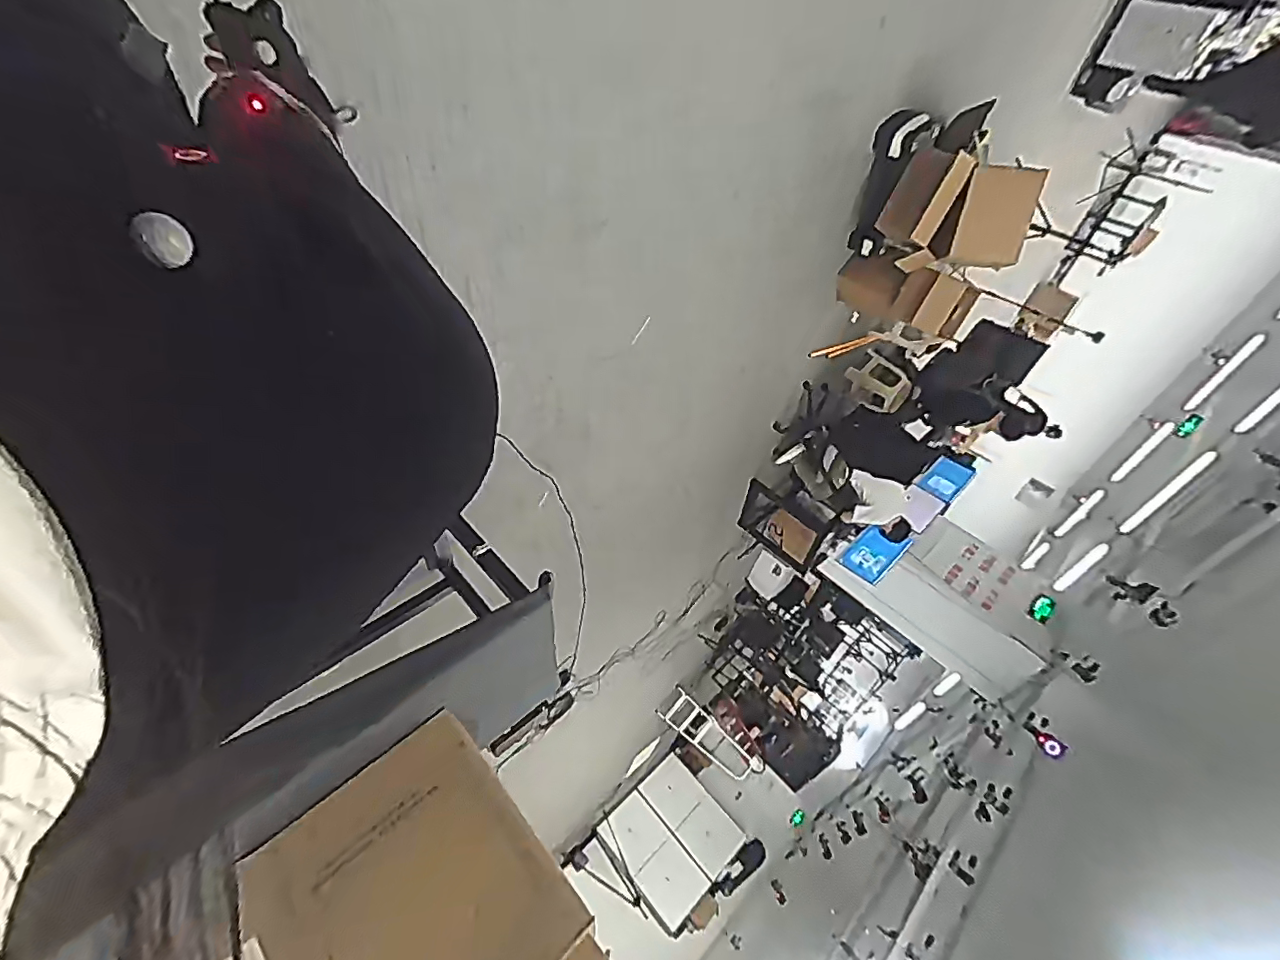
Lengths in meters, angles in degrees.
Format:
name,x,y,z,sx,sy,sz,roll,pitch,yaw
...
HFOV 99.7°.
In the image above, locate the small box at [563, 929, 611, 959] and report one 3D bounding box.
name,x,y,z,sx,sy,sz,roll,pitch,yaw
small box,-0.119,1.119,1.153,0.179,0.176,0.168,-34,146,-27
